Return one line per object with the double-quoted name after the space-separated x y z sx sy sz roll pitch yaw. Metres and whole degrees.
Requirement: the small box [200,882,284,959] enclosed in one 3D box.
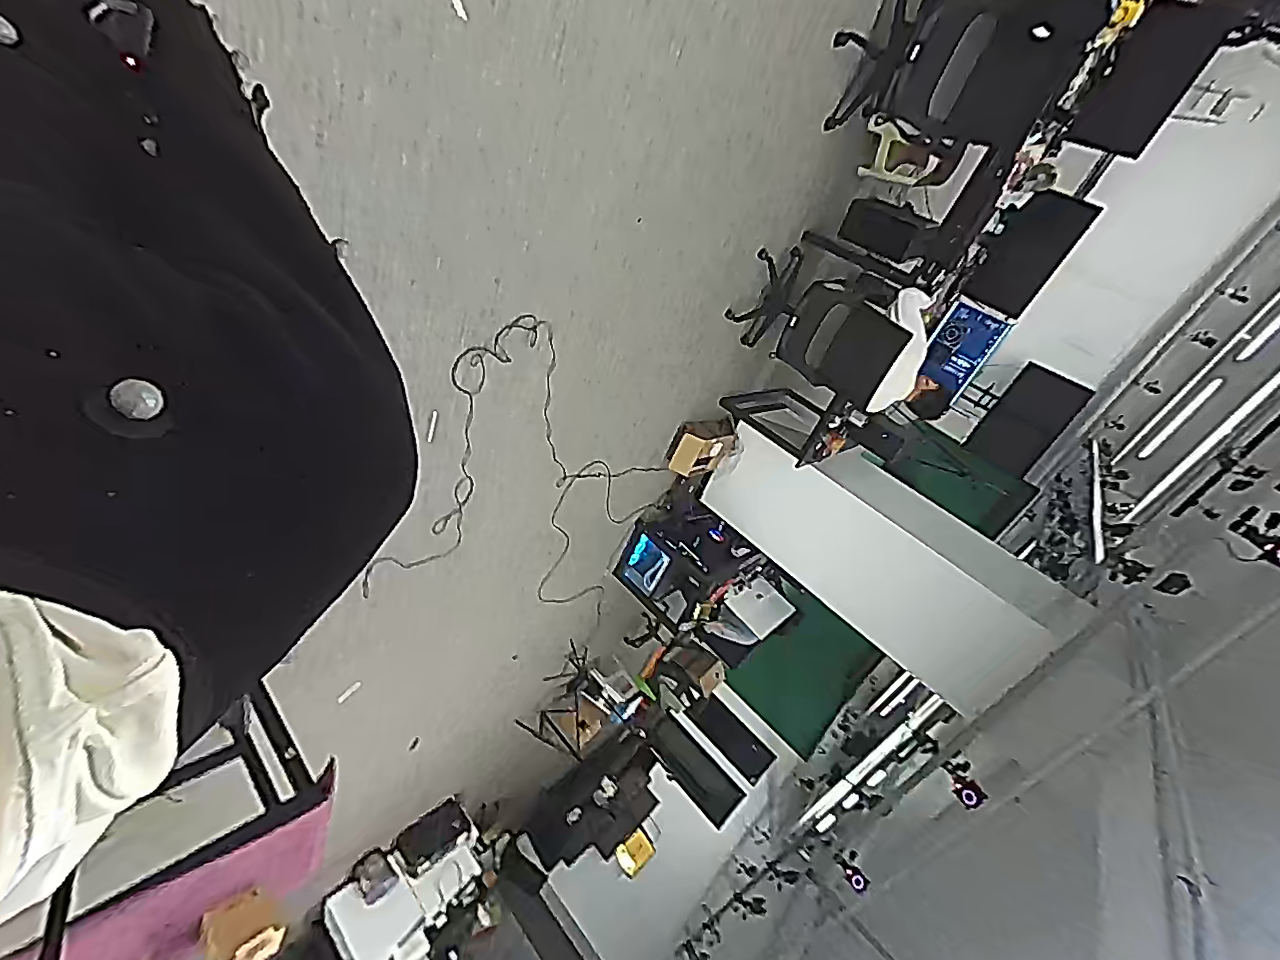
-1.274 1.440 1.727 0.168 0.176 0.179 -9 133 -54 "small box"
